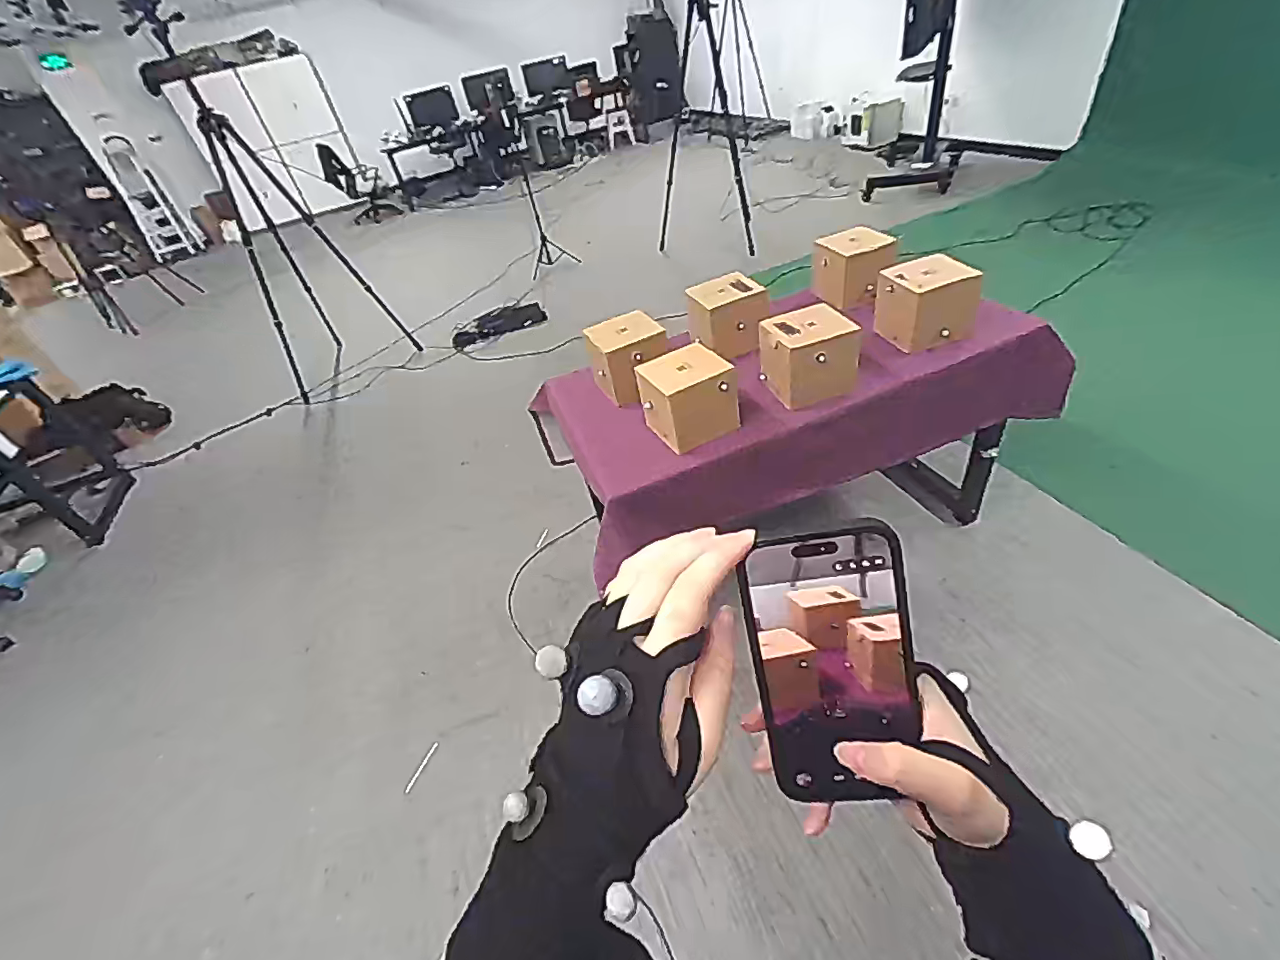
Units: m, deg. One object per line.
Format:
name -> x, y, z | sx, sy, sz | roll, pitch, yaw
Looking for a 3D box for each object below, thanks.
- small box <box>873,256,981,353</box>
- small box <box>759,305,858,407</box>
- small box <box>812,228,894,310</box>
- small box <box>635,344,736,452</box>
small box -> 0.731, -0.453, 1.401 | 0.179, 0.176, 0.168 | -17, 40, -4
small box -> 0.405, -0.299, 1.316 | 0.179, 0.176, 0.168 | -17, 41, -5
small box -> 0.635, -0.637, 1.637 | 0.168, 0.176, 0.179 | -20, 42, -6
small box -> 0.113, -0.193, 1.277 | 0.179, 0.176, 0.168 | -25, 41, -15
